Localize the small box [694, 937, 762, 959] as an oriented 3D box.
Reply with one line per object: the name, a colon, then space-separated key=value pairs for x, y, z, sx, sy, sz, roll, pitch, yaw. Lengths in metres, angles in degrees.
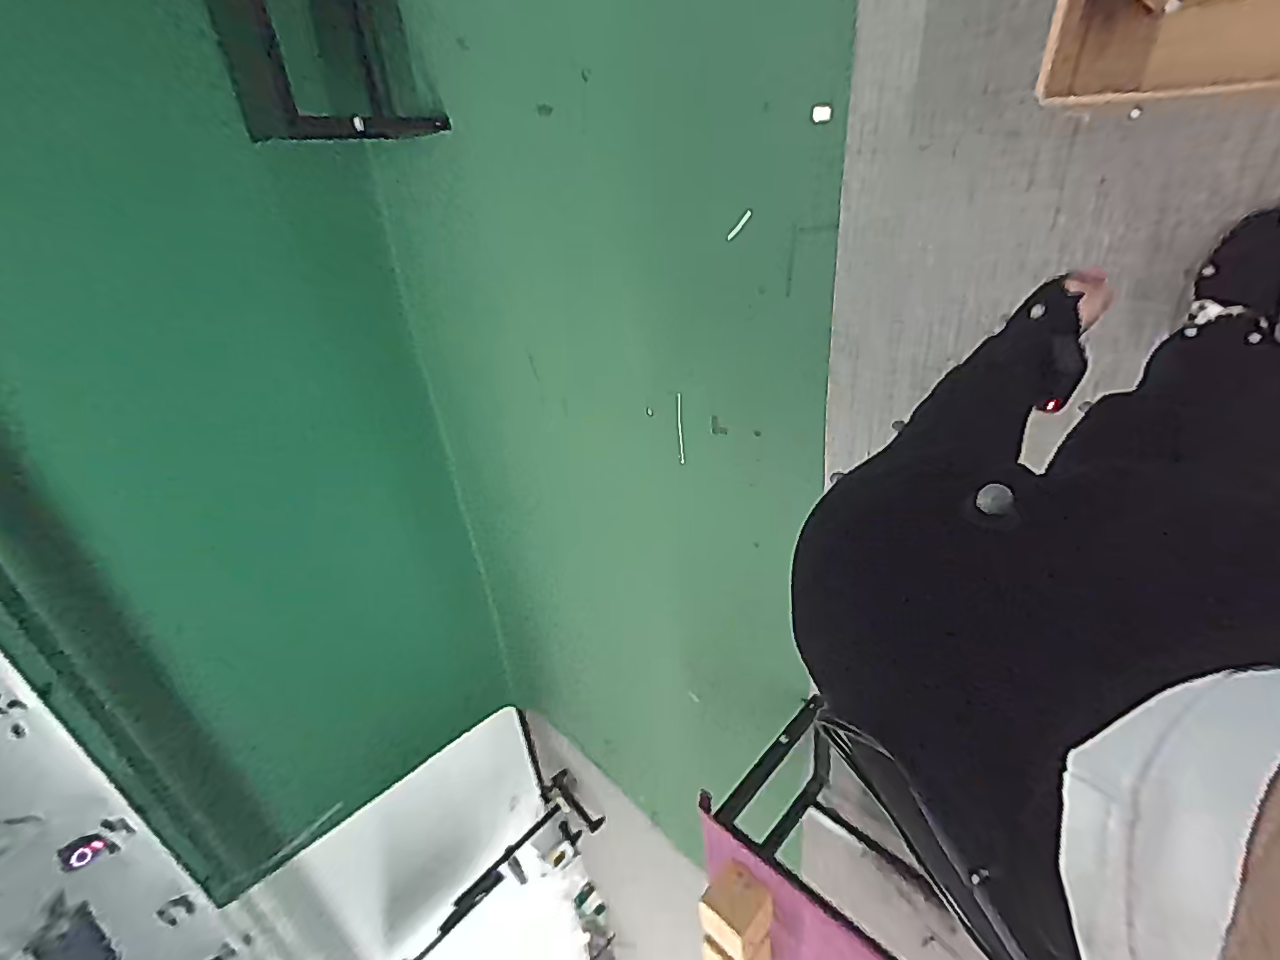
small box: x=0.308 y=1.648 z=1.867 sx=0.168 sy=0.176 sz=0.179 roll=16 pitch=124 yaw=43

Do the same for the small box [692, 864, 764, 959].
small box: x=0.288 y=1.404 z=1.741 sx=0.168 sy=0.176 sz=0.179 roll=17 pitch=125 yaw=42
